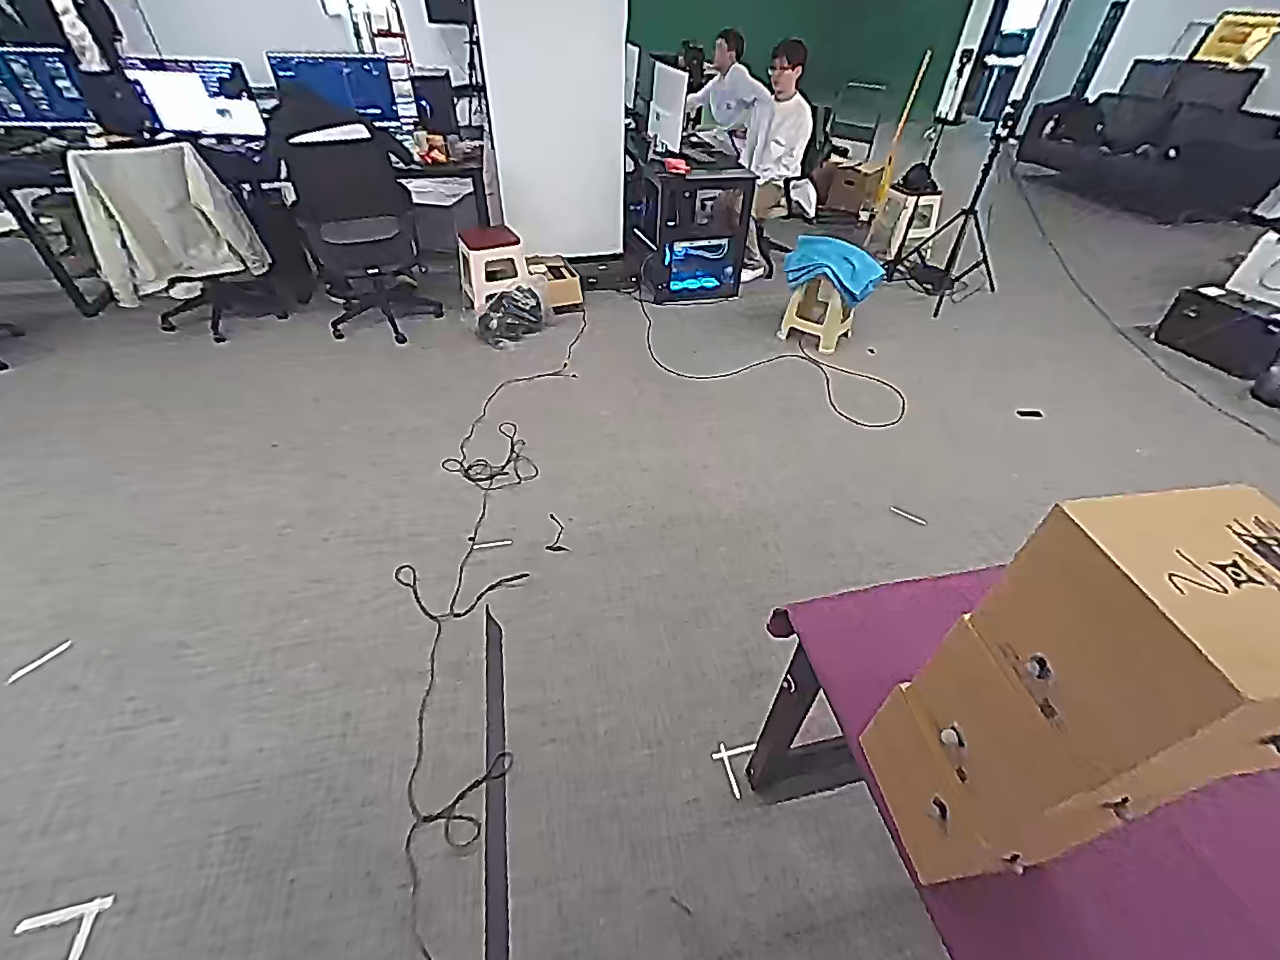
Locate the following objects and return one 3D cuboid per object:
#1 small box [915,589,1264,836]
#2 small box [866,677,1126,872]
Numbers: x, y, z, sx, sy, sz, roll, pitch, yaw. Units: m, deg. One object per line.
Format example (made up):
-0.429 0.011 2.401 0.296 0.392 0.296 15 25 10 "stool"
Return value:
0.422 0.235 0.549 0.179 0.176 0.168 -6 43 -7 "small box"
0.409 0.355 0.661 0.168 0.176 0.179 -5 43 -7 "small box"
